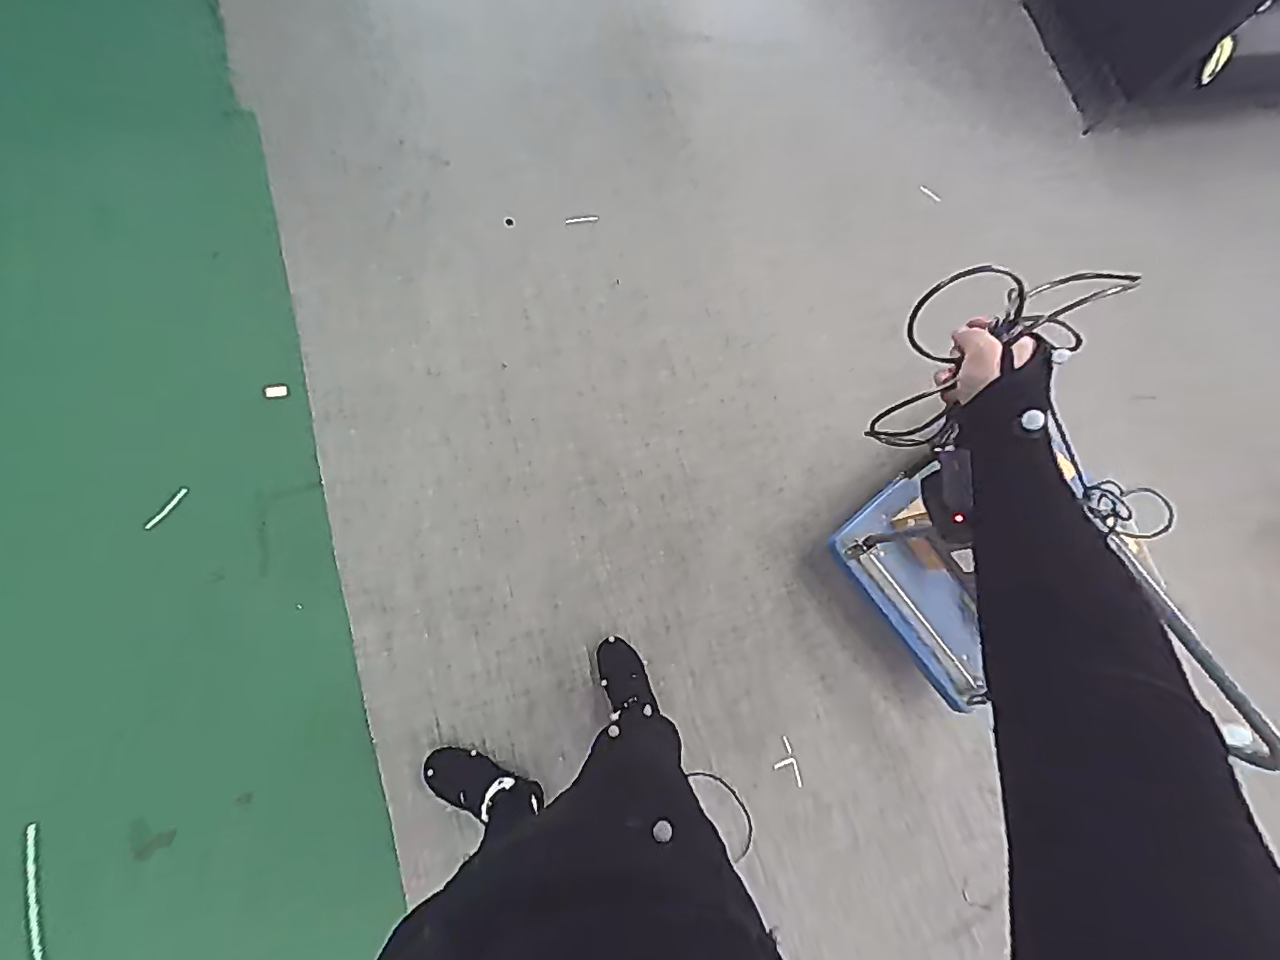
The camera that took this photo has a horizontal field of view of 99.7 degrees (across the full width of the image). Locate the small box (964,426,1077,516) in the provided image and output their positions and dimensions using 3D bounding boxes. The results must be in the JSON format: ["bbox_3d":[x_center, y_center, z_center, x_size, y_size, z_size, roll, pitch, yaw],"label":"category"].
[{"bbox_3d":[1.063,-0.018,1.528,0.179,0.176,0.168,-39,87,-18],"label":"small box"}]

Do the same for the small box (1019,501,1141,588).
[{"bbox_3d":[1.215,0.186,1.506,0.179,0.176,0.168,-37,85,-17],"label":"small box"}]
